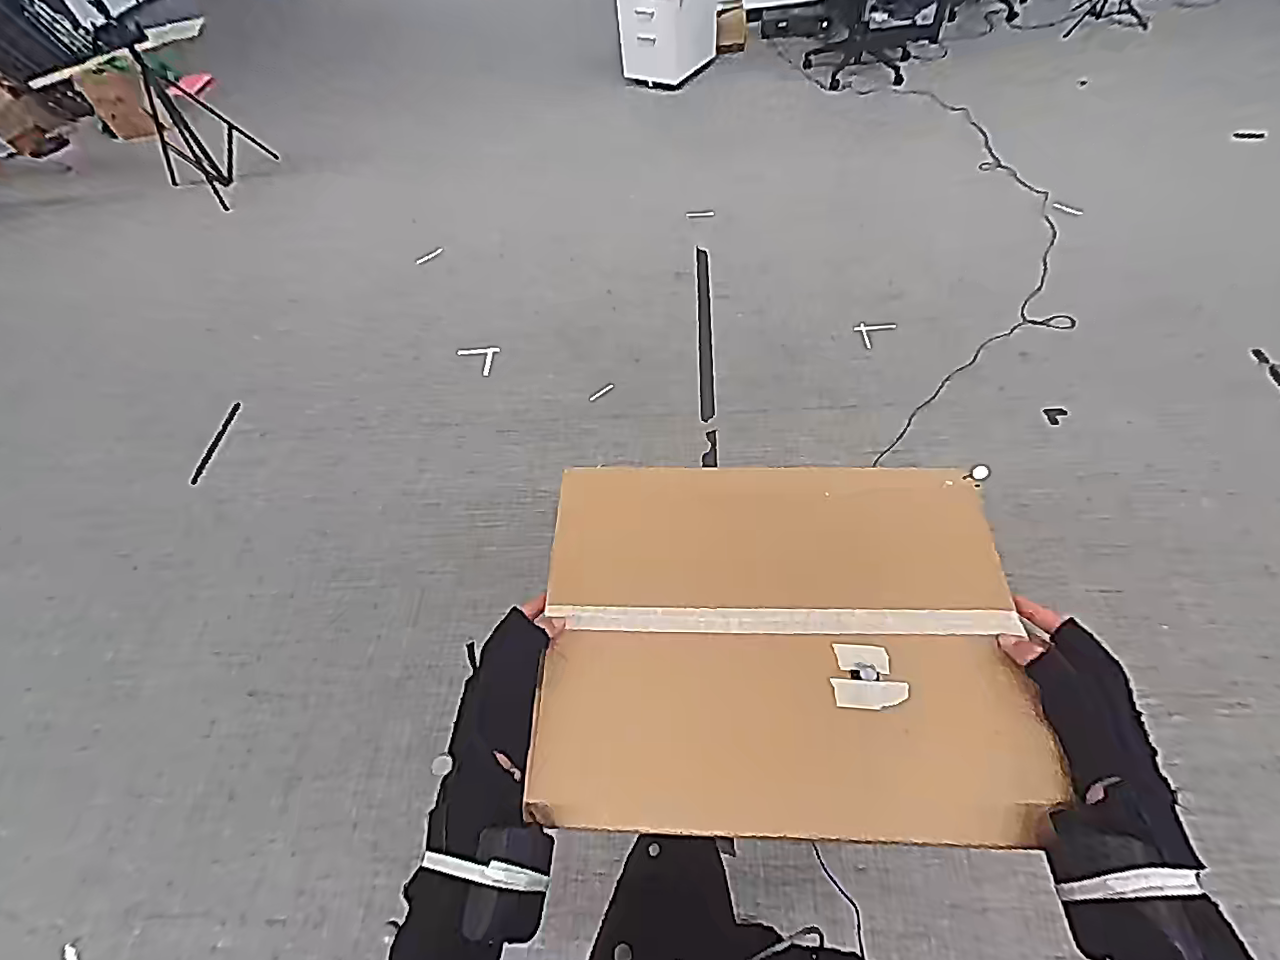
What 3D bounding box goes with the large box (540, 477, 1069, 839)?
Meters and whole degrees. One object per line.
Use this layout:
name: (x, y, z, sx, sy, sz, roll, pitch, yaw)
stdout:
large box: (0.127, 0.207, 0.607, 0.408, 0.320, 0.320, 0, 60, 3)
